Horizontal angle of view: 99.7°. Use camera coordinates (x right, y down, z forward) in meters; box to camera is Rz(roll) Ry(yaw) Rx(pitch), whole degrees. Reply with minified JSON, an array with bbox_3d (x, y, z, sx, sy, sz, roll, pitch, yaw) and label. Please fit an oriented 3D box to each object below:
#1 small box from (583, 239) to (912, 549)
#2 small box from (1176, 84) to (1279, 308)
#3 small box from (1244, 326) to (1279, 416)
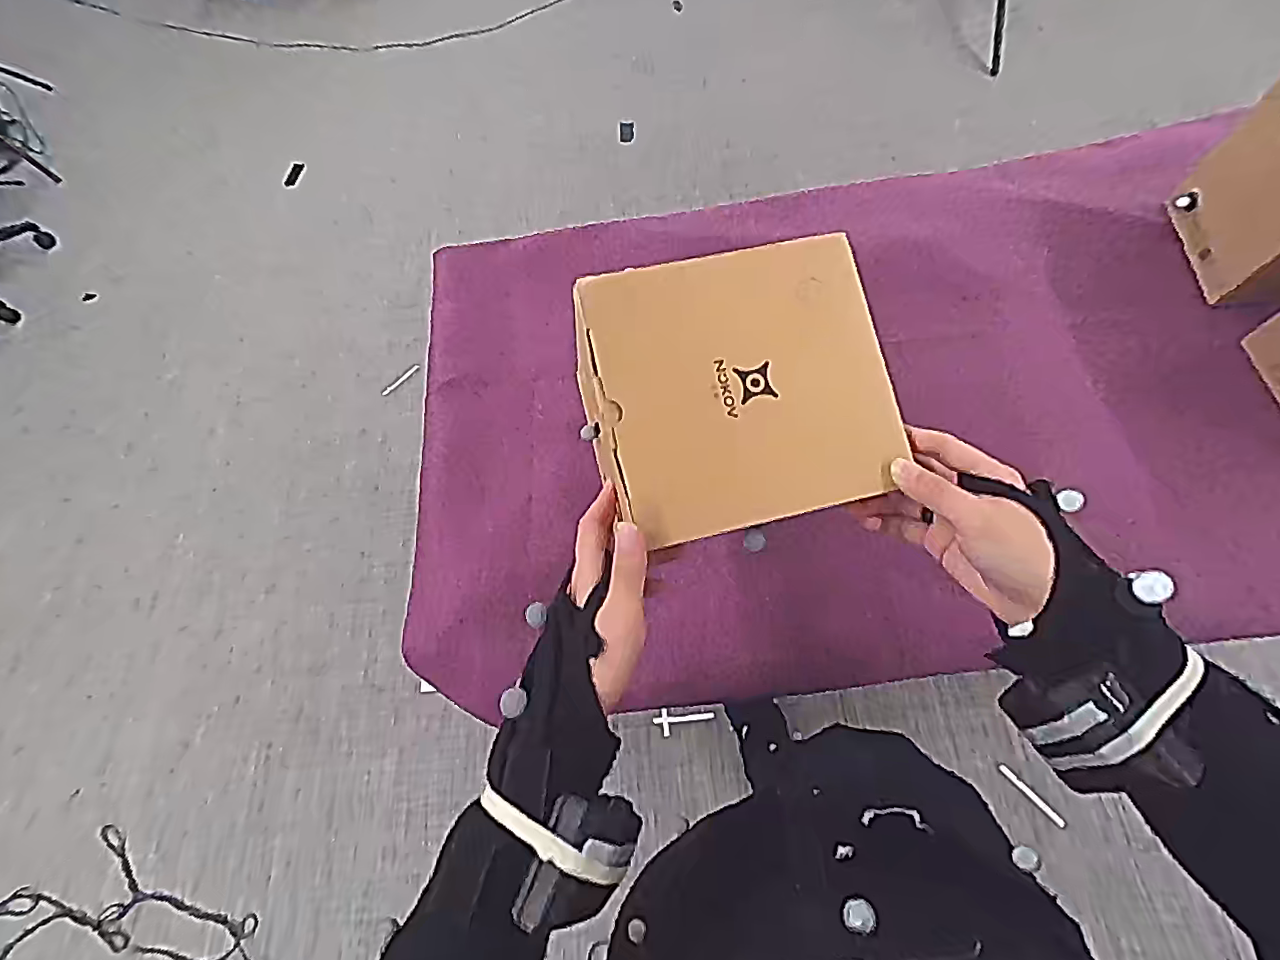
[{"bbox_3d":[0.057,-0.048,0.404,0.179,0.176,0.168,-13,84,-7],"label":"small box"},{"bbox_3d":[0.740,-0.302,0.578,0.179,0.176,0.168,-1,69,6],"label":"small box"},{"bbox_3d":[0.757,-0.118,0.500,0.179,0.176,0.168,-6,65,6],"label":"small box"}]
